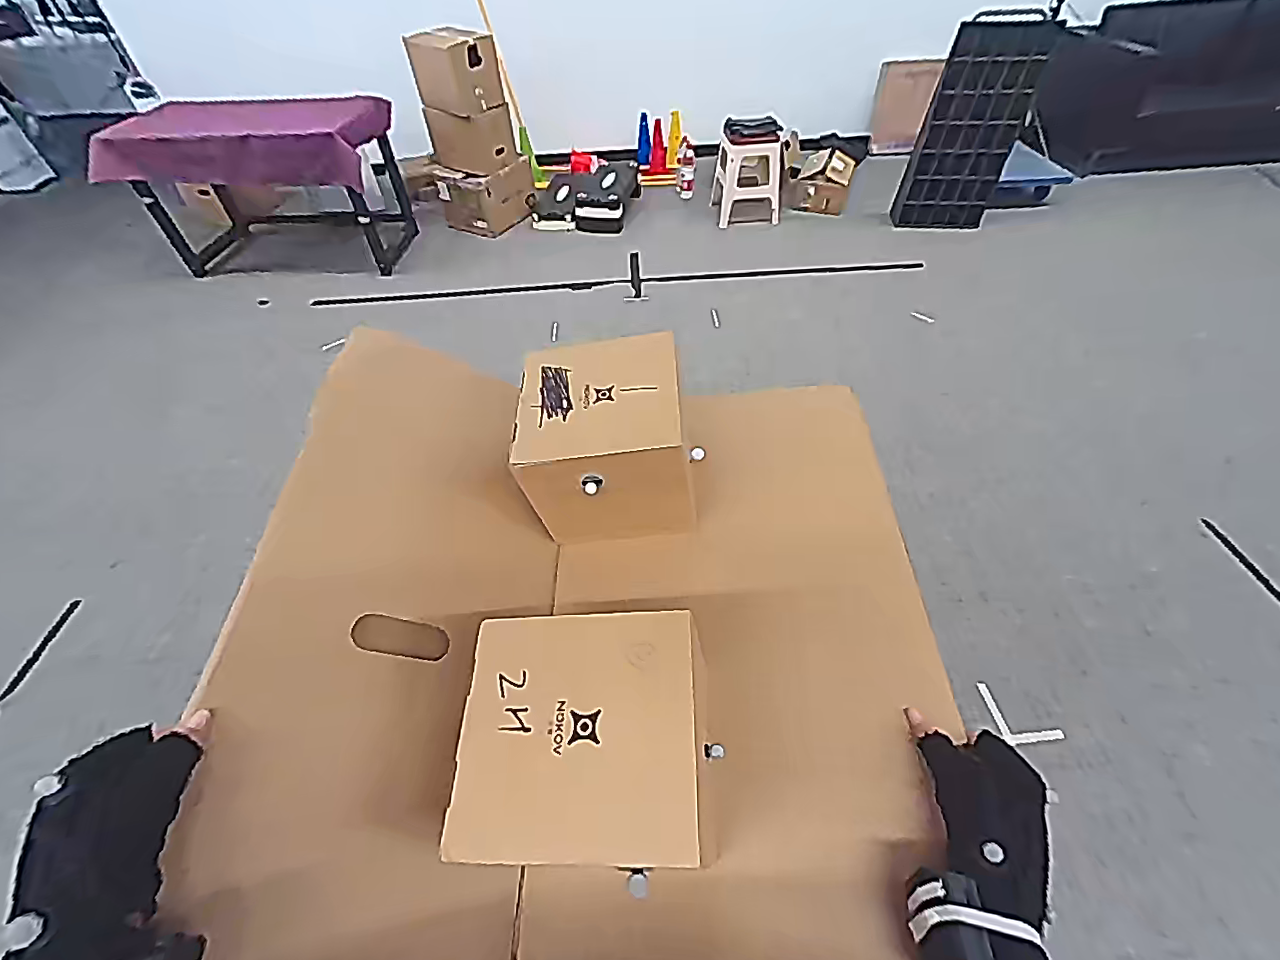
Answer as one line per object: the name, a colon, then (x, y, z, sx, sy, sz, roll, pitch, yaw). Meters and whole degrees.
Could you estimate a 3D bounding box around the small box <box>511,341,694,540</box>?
small box: (-0.033, -0.039, 0.648, 0.179, 0.176, 0.168, -6, 55, 7)

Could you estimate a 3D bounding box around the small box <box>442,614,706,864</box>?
small box: (-0.035, 0.224, 0.464, 0.179, 0.176, 0.168, -4, 55, 9)
